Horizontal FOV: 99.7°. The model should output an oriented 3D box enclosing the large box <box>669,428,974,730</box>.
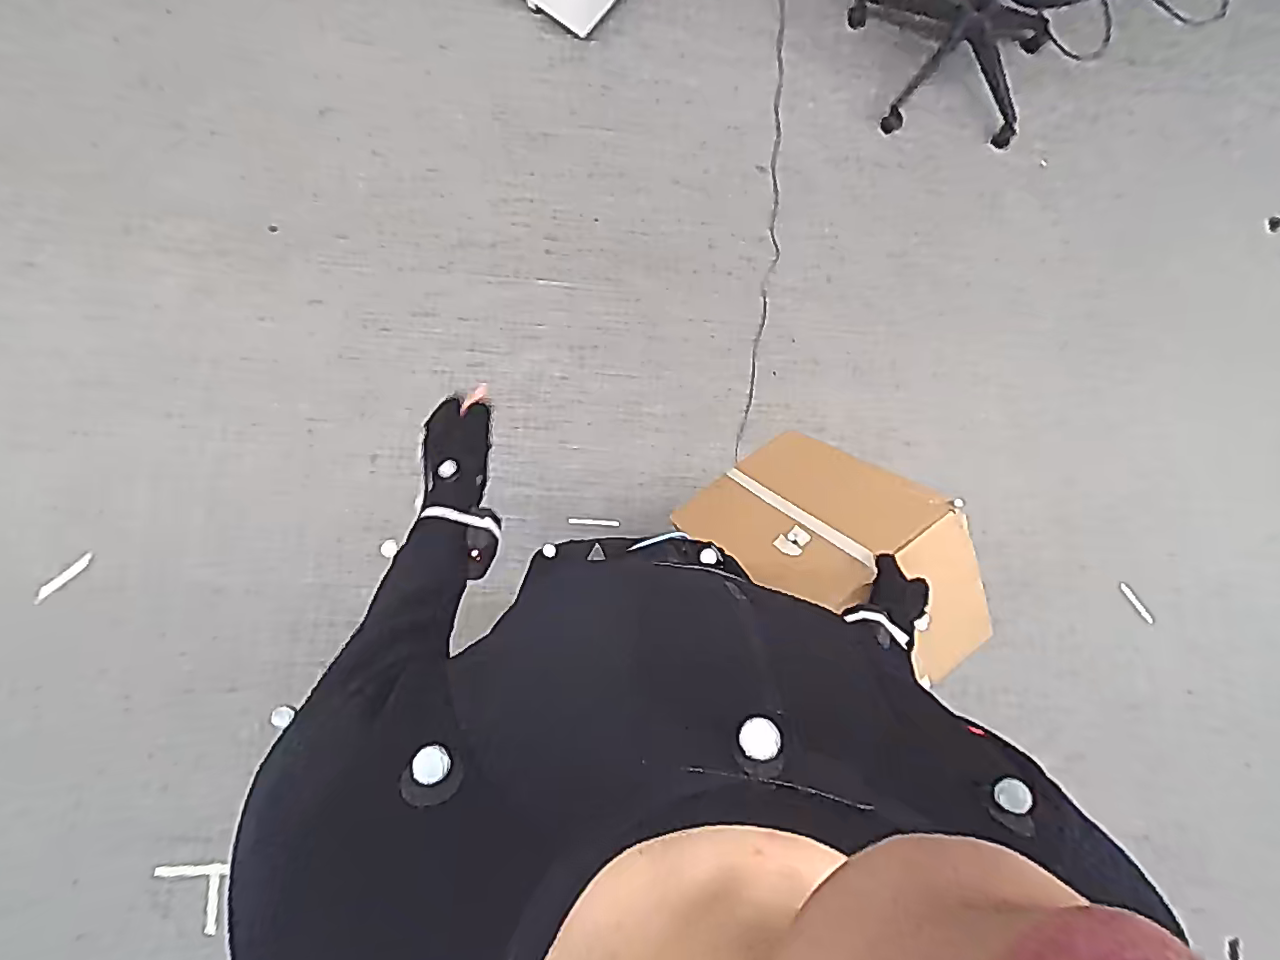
[{"bbox_3d":[0.319,0.158,1.007,0.320,0.408,0.320,-36,122,-6],"label":"large box"}]
